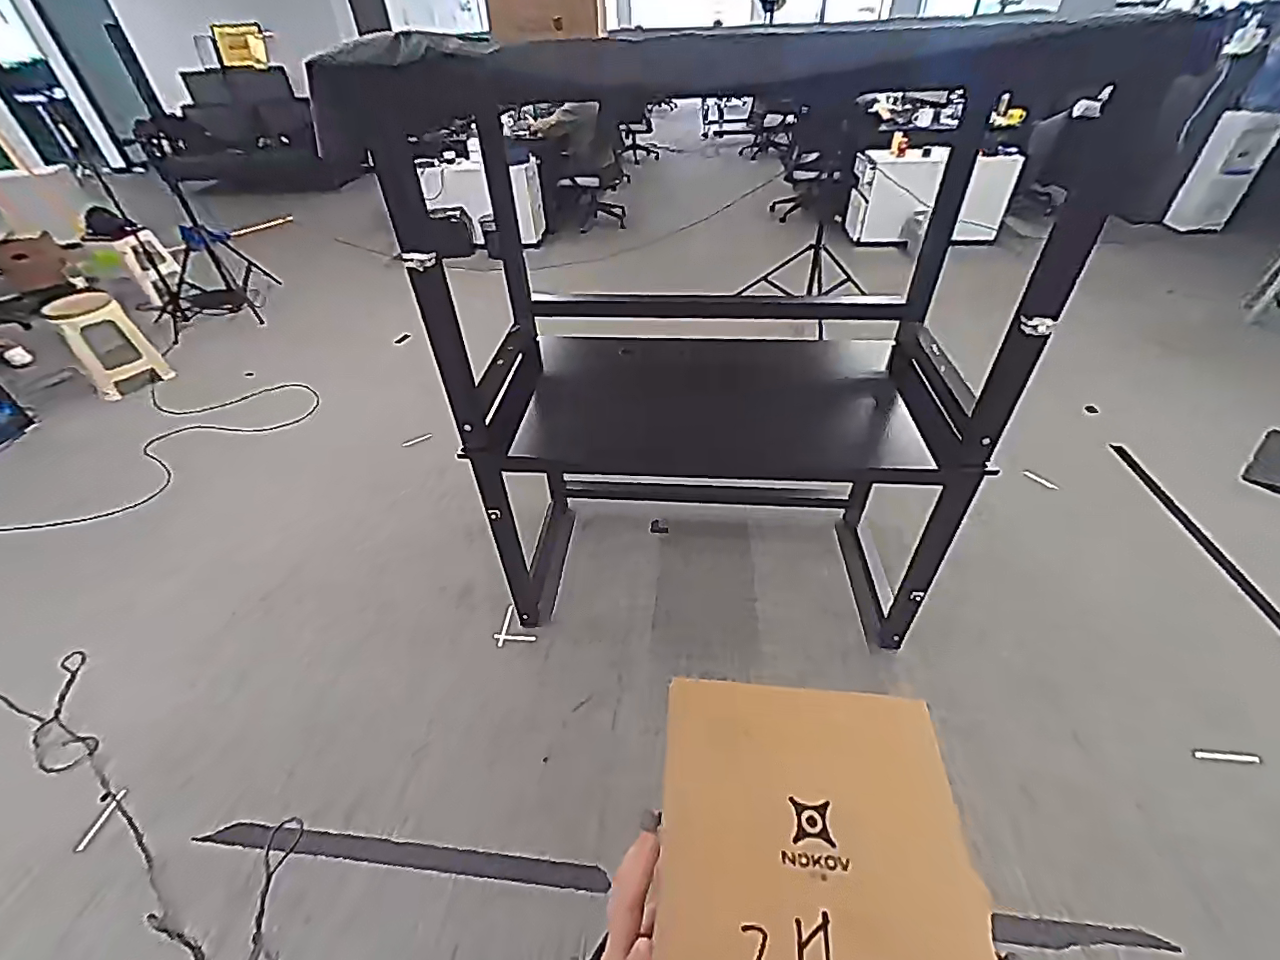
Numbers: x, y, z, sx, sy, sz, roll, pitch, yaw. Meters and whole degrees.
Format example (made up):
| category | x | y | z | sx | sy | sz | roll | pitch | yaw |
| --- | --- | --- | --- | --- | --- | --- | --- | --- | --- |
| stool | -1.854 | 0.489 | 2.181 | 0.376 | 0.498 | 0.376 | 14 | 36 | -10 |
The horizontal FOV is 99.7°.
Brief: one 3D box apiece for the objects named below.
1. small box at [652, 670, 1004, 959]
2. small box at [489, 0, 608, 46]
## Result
| category | x | y | z | sx | sy | sz | roll | pitch | yaw |
| --- | --- | --- | --- | --- | --- | --- | --- | --- | --- |
| small box | 0.095 | 0.249 | 0.347 | 0.168 | 0.176 | 0.179 | 3 | 44 | 5 |
| small box | -0.137 | -0.769 | 0.816 | 0.168 | 0.176 | 0.179 | 0 | 40 | 1 |
